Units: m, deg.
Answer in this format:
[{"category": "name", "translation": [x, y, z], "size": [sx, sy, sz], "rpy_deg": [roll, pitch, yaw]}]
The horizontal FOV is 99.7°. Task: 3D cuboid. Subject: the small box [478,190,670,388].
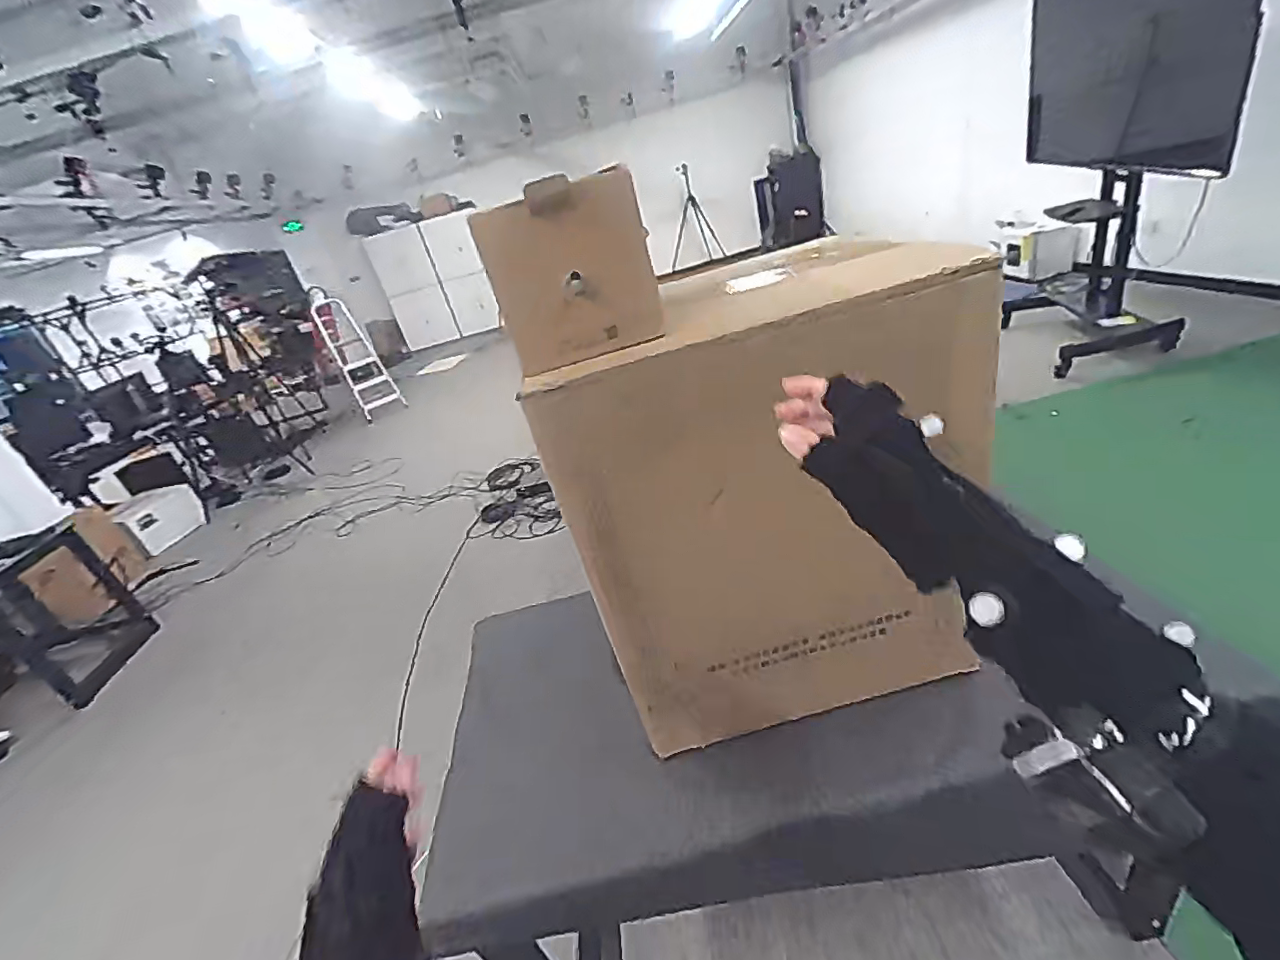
[{"category": "small box", "translation": [-0.074, -0.224, 0.637], "size": [0.168, 0.176, 0.179], "rpy_deg": [-19, 29, -2]}]
